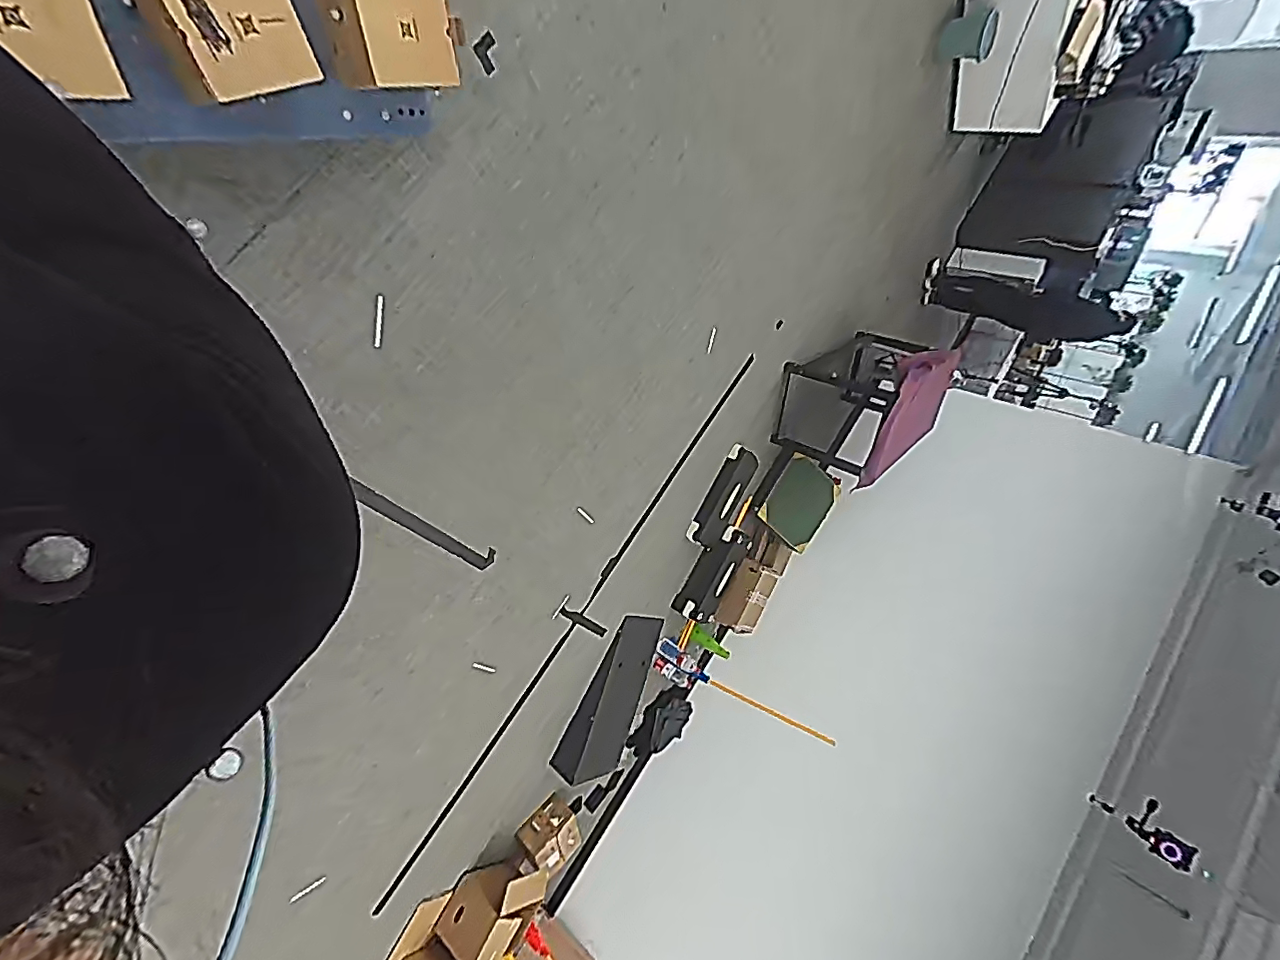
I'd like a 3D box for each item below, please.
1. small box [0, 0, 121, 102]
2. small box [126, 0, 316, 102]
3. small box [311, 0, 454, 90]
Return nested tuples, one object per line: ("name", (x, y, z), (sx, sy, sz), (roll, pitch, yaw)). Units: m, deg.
("small box", (-0.841, -0.598, 0.705), (0.179, 0.176, 0.168), (-32, 136, -39))
("small box", (-0.669, -0.715, 0.857), (0.179, 0.176, 0.168), (-42, 141, -30))
("small box", (-0.488, -0.841, 1.018), (0.179, 0.176, 0.168), (-34, 137, -37))
